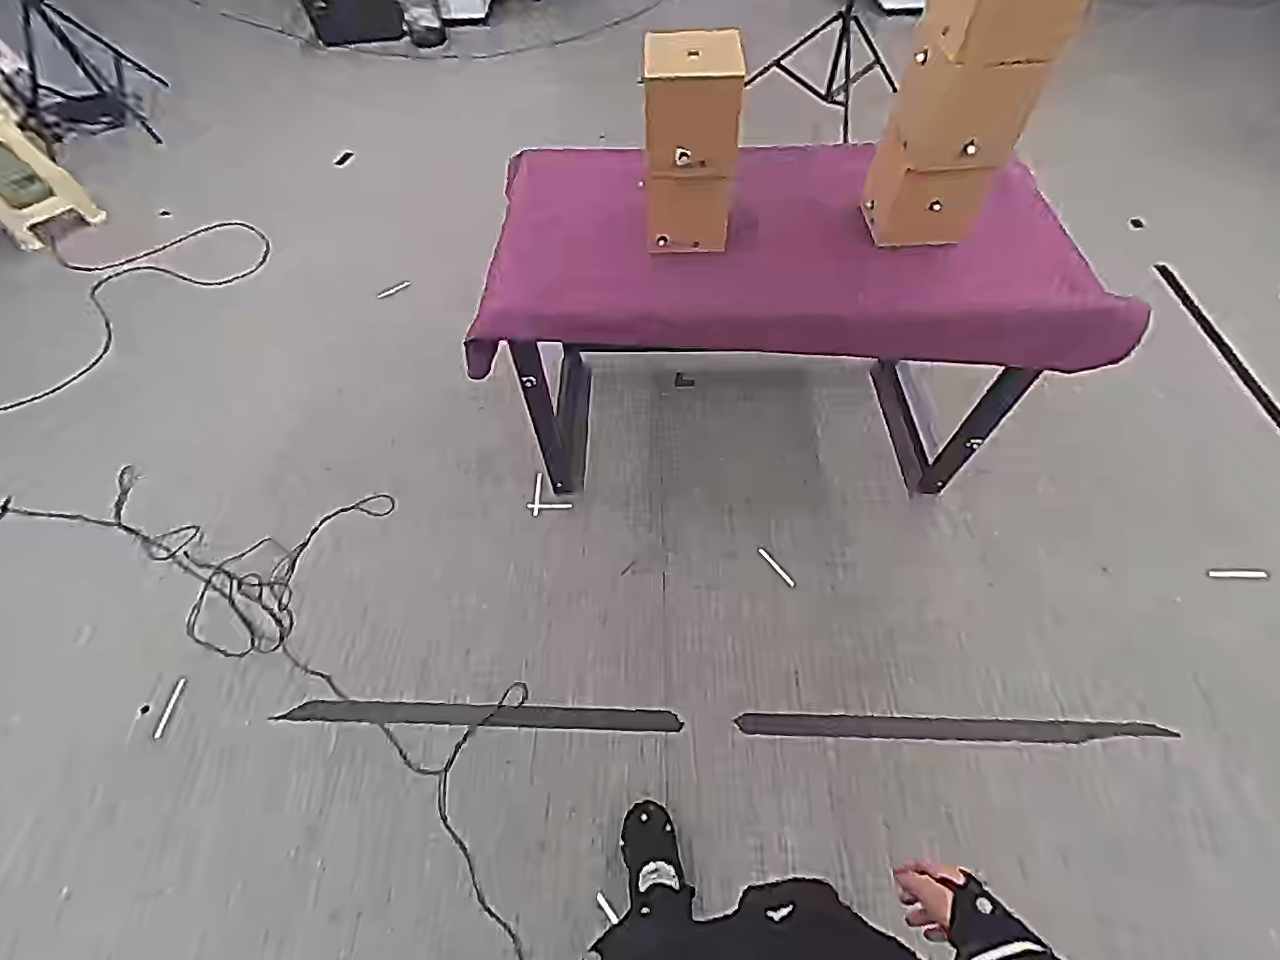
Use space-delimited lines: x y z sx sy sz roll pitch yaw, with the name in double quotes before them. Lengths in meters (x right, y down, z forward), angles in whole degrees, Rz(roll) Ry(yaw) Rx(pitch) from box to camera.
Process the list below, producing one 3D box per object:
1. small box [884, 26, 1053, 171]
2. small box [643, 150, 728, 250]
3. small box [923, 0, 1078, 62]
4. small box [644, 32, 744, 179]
"small box" 0.573 -0.684 0.971 0.179 0.176 0.168 -4 57 -1
"small box" 0.092 -0.599 1.125 0.168 0.176 0.179 0 57 1
"small box" 0.568 -0.777 0.837 0.179 0.176 0.168 -4 58 0
"small box" 0.090 -0.675 0.981 0.168 0.176 0.179 -1 59 2
